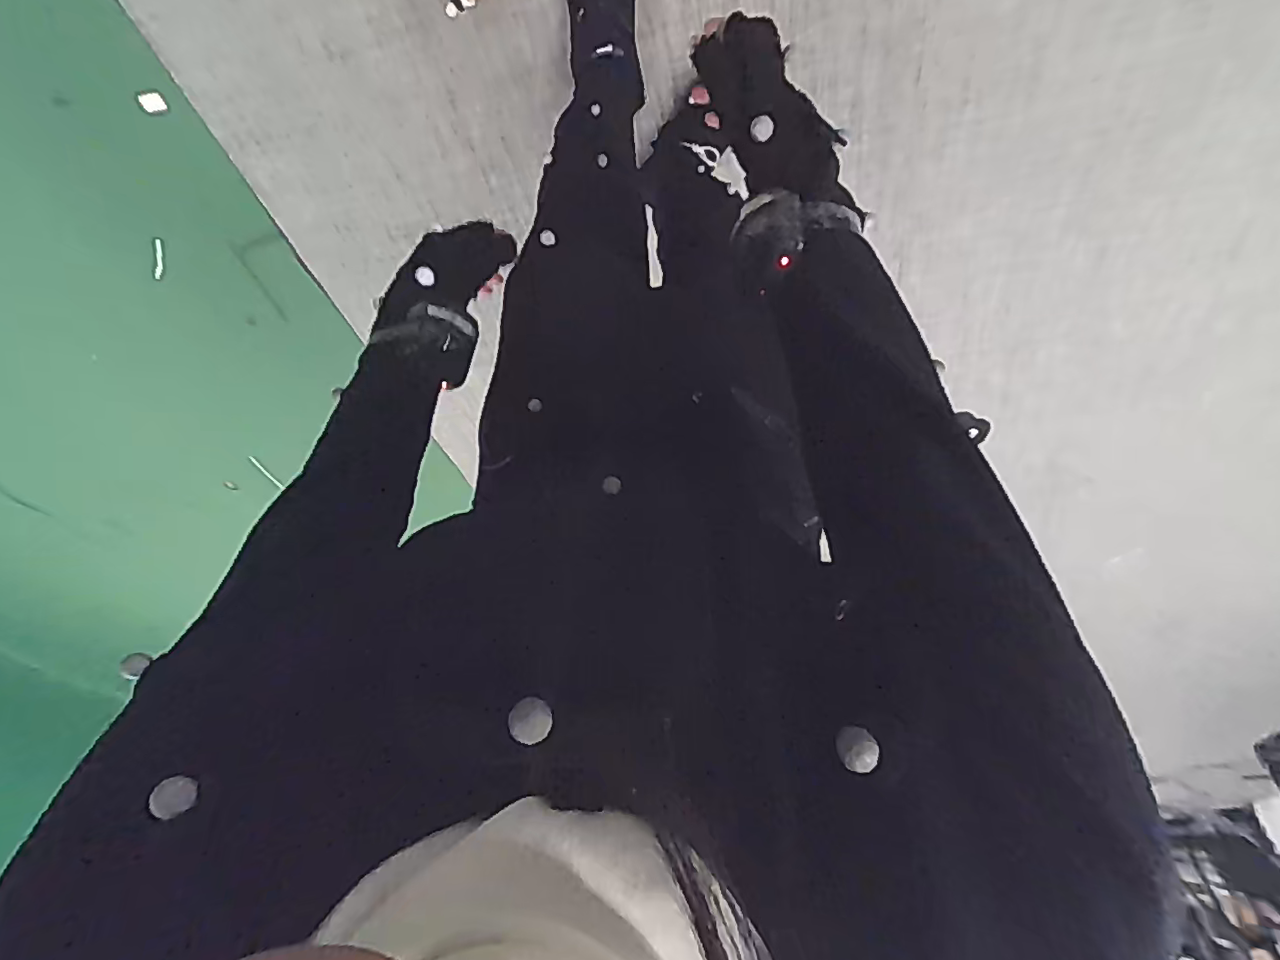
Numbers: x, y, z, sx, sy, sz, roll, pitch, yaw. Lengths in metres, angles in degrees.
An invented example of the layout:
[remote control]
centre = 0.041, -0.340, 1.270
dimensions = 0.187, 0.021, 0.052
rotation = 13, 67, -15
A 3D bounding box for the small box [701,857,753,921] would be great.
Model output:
[small box]
centre = 0.313, 1.480, 1.957
dimensions = 0.168, 0.176, 0.179
rotation = -7, 136, 11
